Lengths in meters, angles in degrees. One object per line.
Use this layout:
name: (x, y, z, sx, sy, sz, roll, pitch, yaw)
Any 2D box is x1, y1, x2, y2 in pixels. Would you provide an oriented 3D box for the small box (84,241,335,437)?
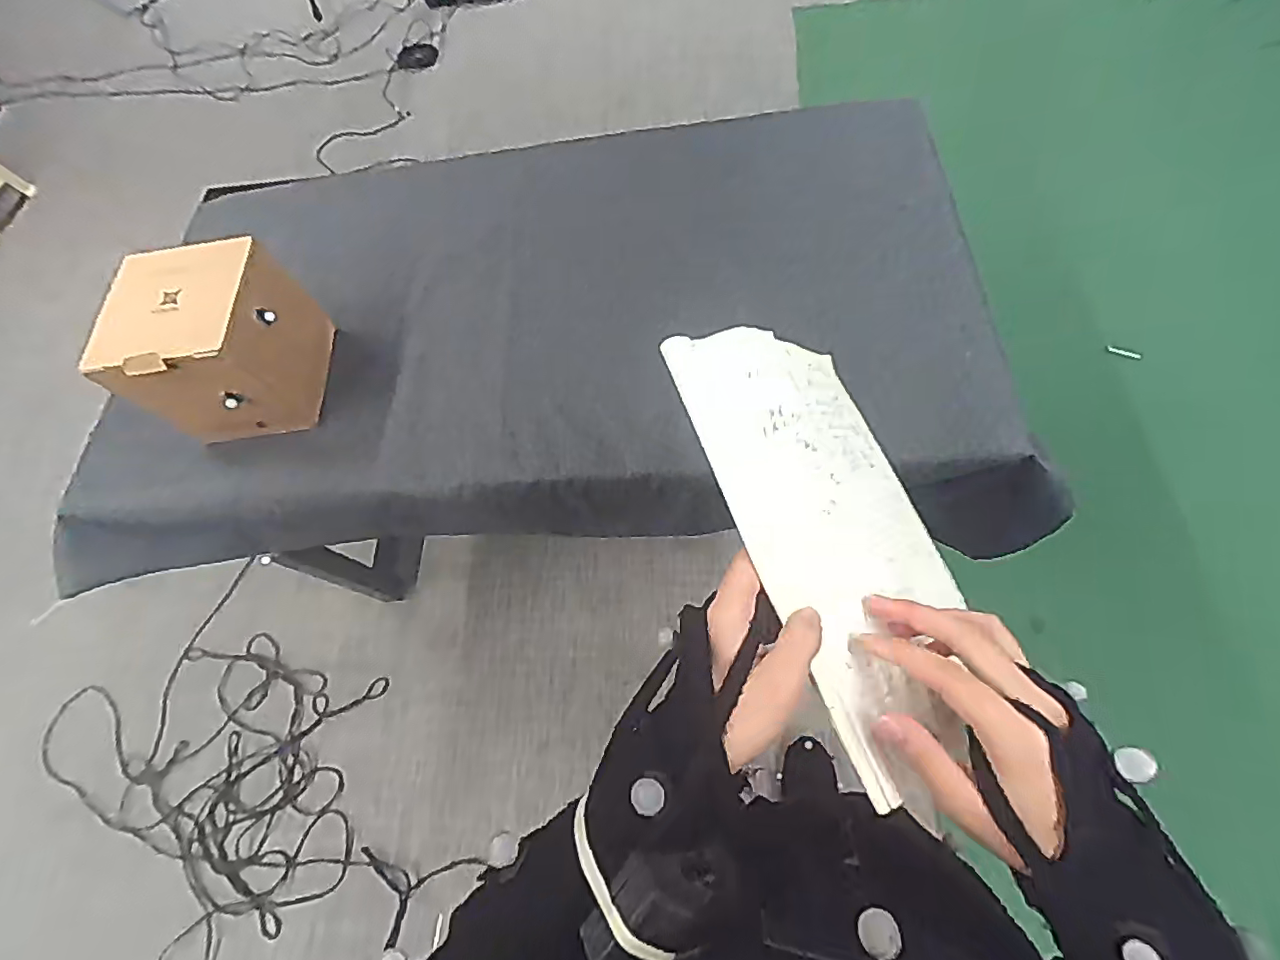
small box: (-0.523, -0.167, 0.690, 0.168, 0.176, 0.179, -7, 64, 3)
